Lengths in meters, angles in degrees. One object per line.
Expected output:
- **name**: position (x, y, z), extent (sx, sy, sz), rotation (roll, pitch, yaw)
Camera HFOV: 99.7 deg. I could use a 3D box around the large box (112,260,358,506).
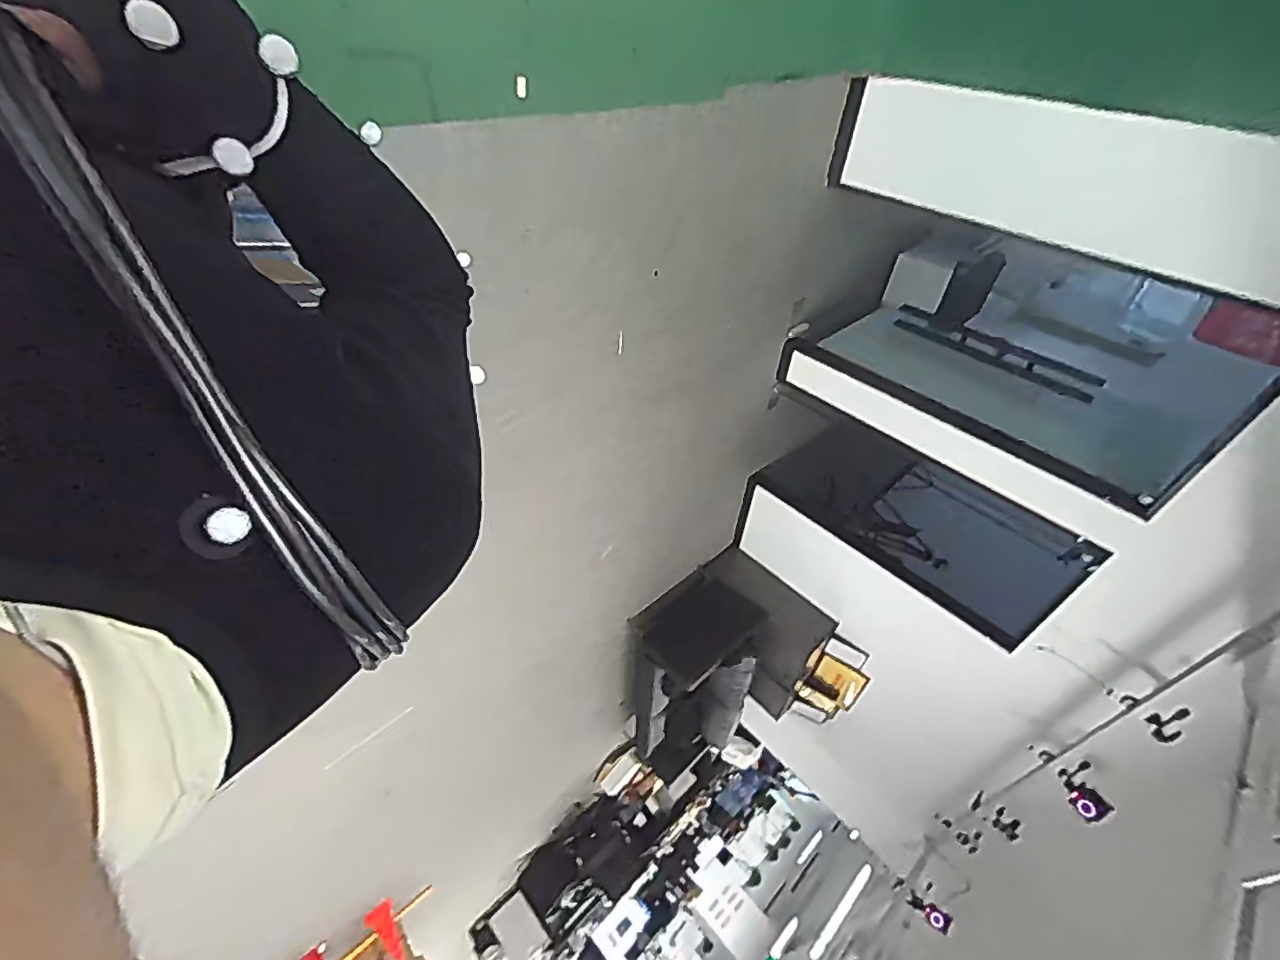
- **large box**: position (-0.851, -0.224, 1.172), extent (0.320, 0.320, 0.408), rotation (-21, 138, -42)
